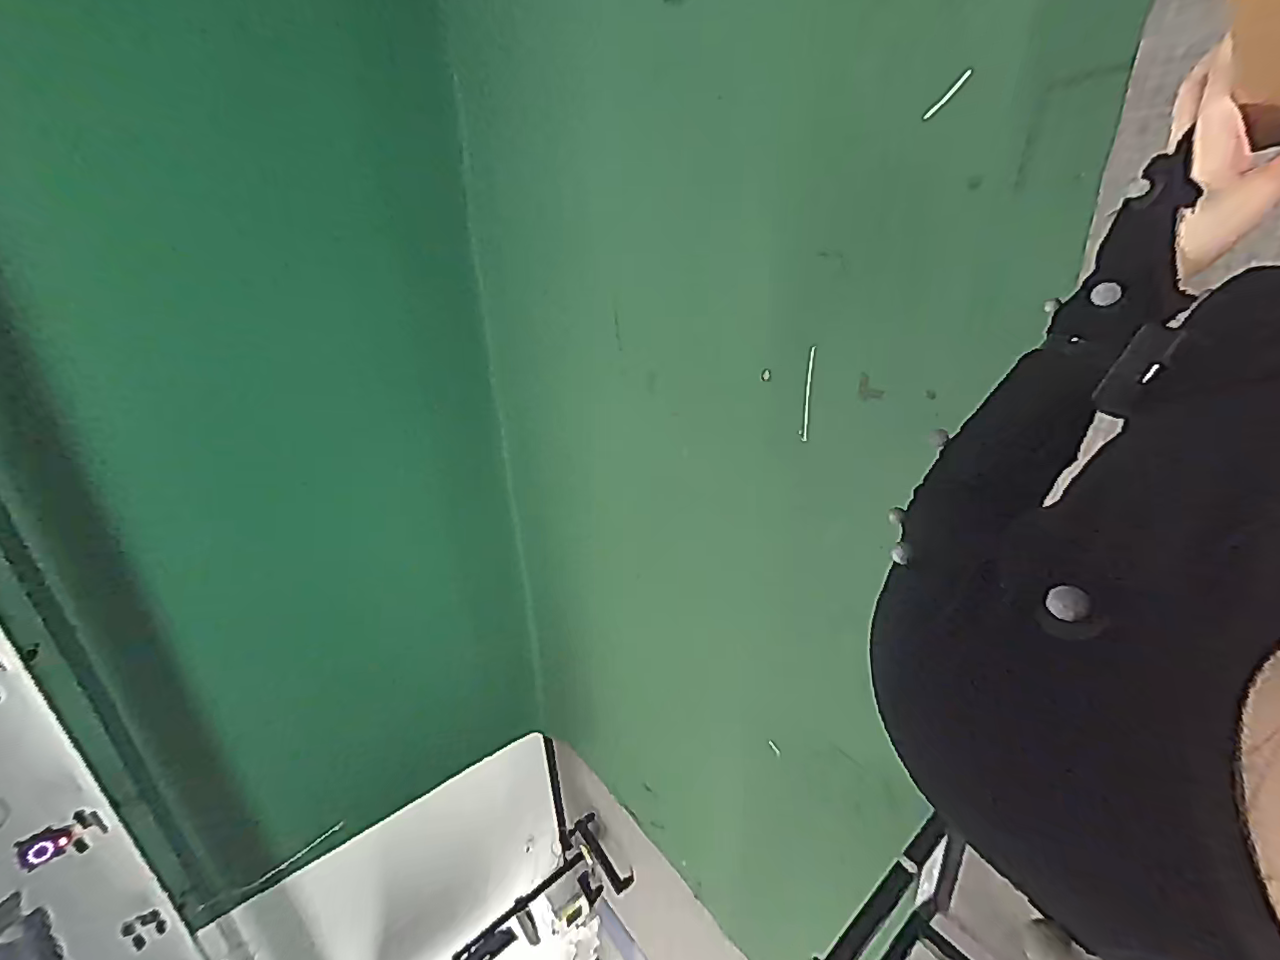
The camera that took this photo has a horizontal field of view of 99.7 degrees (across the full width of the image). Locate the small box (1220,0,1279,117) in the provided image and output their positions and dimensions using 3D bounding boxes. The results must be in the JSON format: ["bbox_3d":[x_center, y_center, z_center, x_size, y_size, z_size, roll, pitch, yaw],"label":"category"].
[{"bbox_3d":[0.404,-0.306,0.246,0.168,0.176,0.179,11,94,49],"label":"small box"}]
